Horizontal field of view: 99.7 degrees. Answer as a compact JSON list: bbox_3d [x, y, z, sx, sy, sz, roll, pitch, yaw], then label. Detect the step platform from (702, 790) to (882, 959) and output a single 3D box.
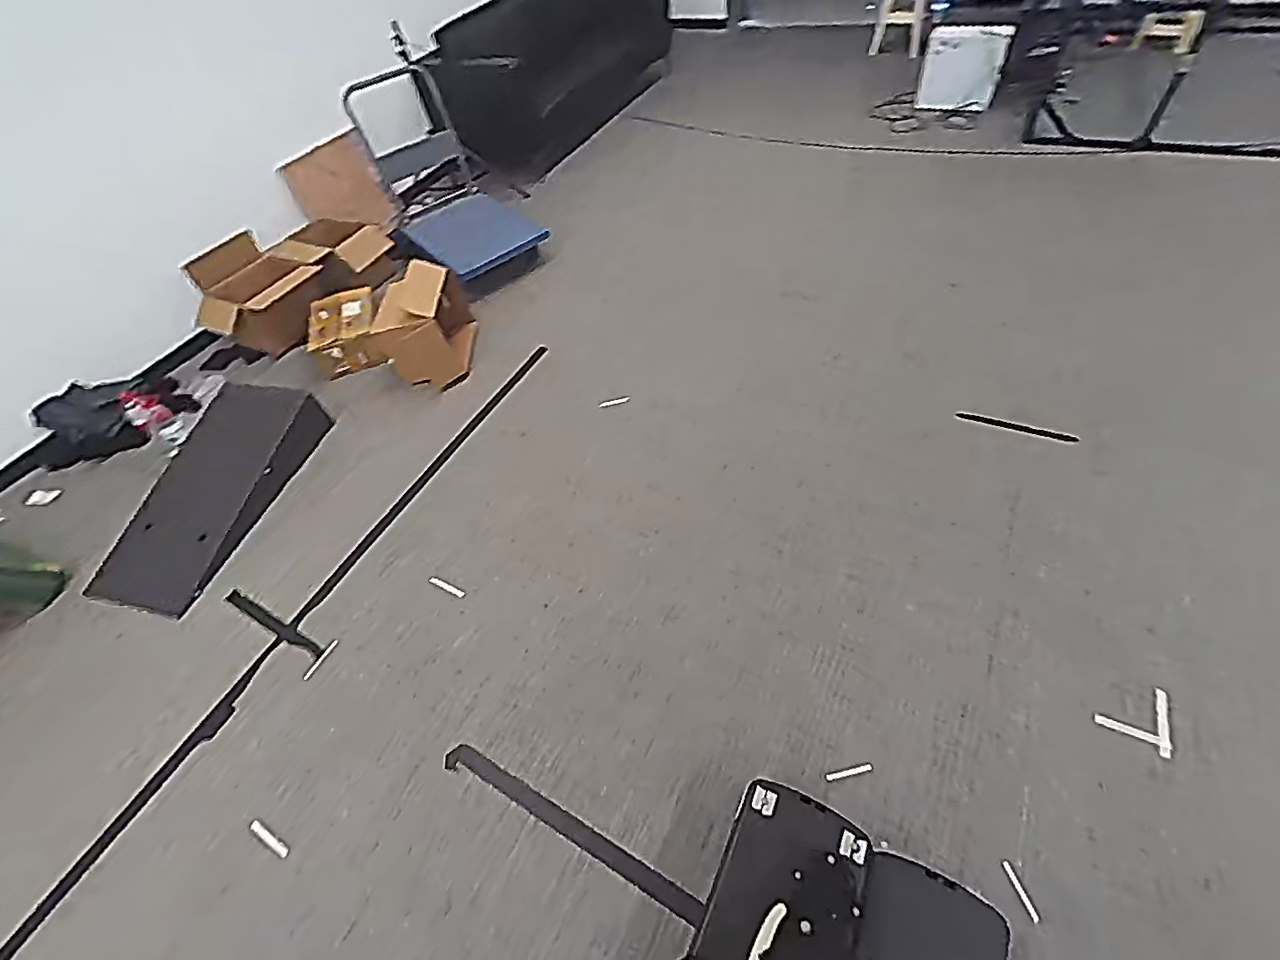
[{"bbox_3d":[0.266,1.026,1.096,0.286,0.204,0.684,18,56,21],"label":"step platform"}]
